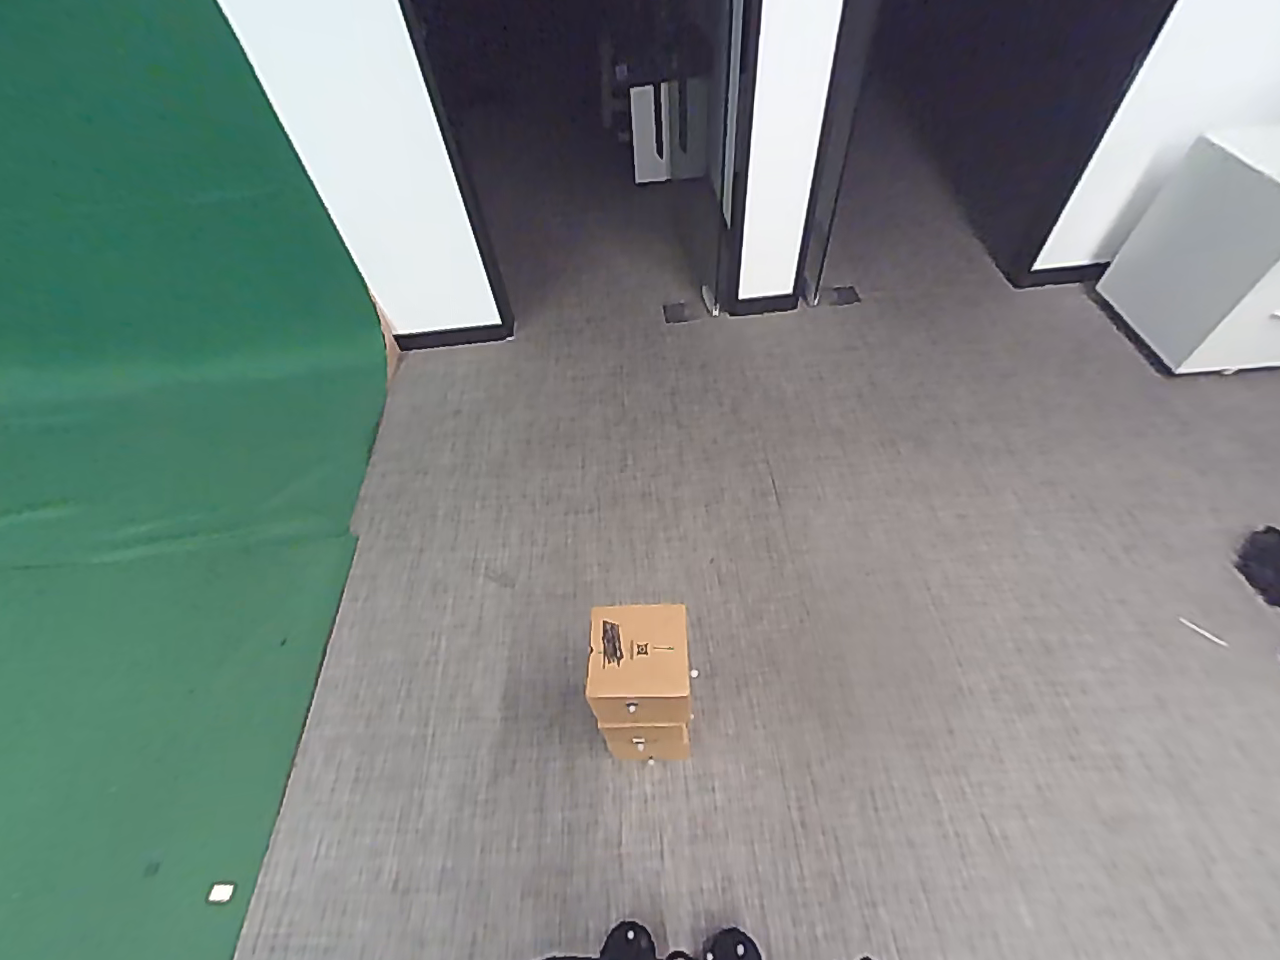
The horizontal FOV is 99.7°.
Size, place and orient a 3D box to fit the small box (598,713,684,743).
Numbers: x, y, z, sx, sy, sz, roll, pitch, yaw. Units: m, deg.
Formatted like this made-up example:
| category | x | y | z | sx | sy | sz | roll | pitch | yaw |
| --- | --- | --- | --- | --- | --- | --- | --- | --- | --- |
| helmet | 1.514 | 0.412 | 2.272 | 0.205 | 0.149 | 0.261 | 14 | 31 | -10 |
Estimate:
| category | x | y | z | sx | sy | sz | roll | pitch | yaw |
| --- | --- | --- | --- | --- | --- | --- | --- | --- | --- |
| small box | 0.007 | 0.445 | 1.146 | 0.168 | 0.176 | 0.179 | -4 | 53 | 4 |

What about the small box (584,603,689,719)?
| category | x | y | z | sx | sy | sz | roll | pitch | yaw |
| --- | --- | --- | --- | --- | --- | --- | --- | --- | --- |
| small box | 0.001 | 0.344 | 1.016 | 0.179 | 0.176 | 0.168 | -2 | 52 | 4 |

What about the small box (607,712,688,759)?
| category | x | y | z | sx | sy | sz | roll | pitch | yaw |
| --- | --- | --- | --- | --- | --- | --- | --- | --- | --- |
| small box | 0.021 | 0.549 | 1.271 | 0.179 | 0.176 | 0.168 | -2 | 52 | 4 |
